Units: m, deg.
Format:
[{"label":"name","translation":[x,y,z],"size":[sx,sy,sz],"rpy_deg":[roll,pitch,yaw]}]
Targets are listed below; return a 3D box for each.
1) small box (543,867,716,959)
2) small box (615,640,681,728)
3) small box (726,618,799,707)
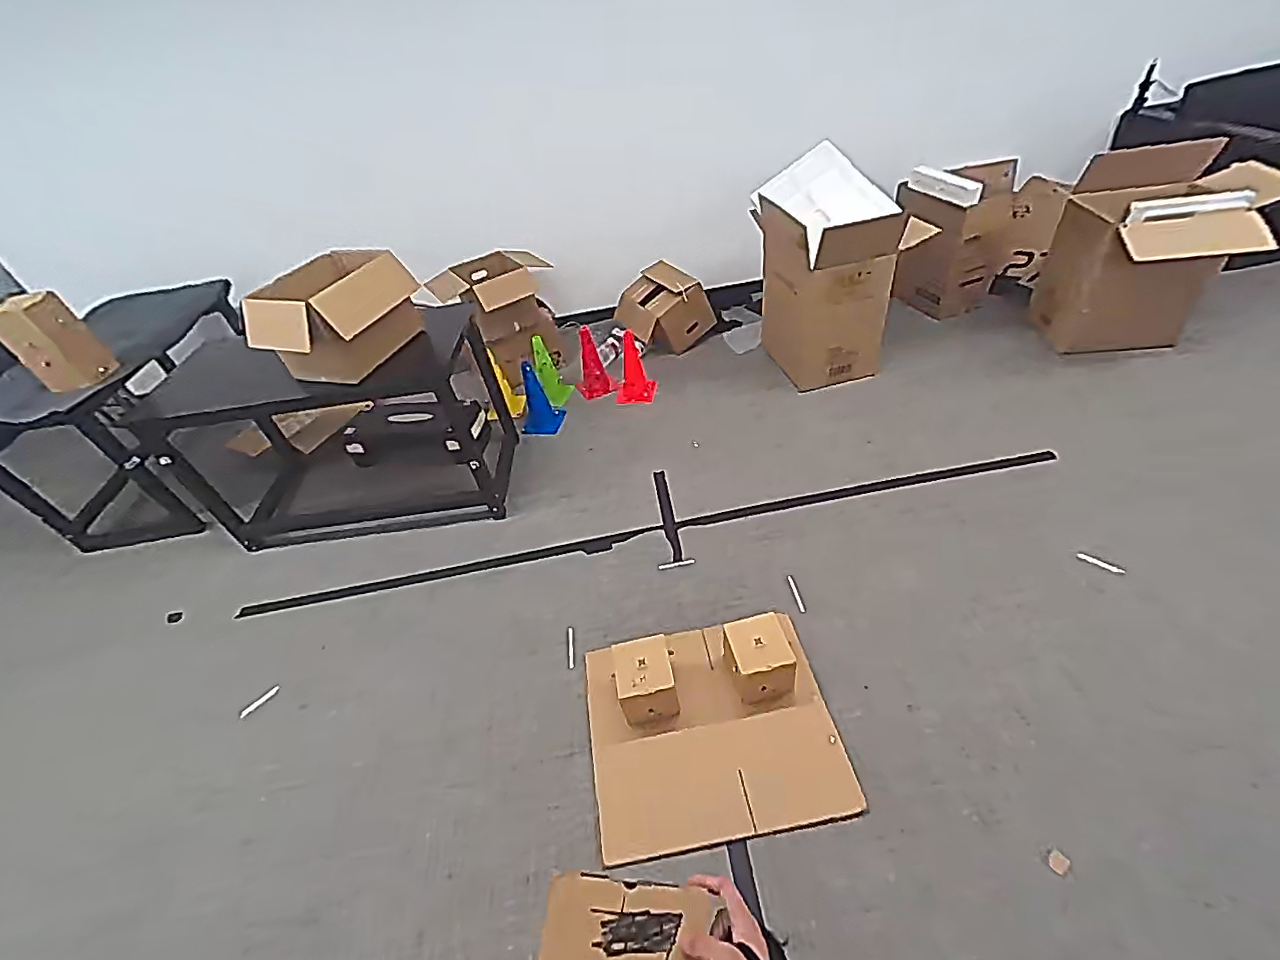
[{"label":"small box","translation":[-0.010,0.527,0.556],"size":[0.168,0.176,0.179],"rpy_deg":[2,47,7]},{"label":"small box","translation":[0.023,0.613,1.622],"size":[0.168,0.176,0.179],"rpy_deg":[-12,42,-1]},{"label":"small box","translation":[0.362,0.551,1.630],"size":[0.168,0.176,0.179],"rpy_deg":[-14,42,-4]}]
